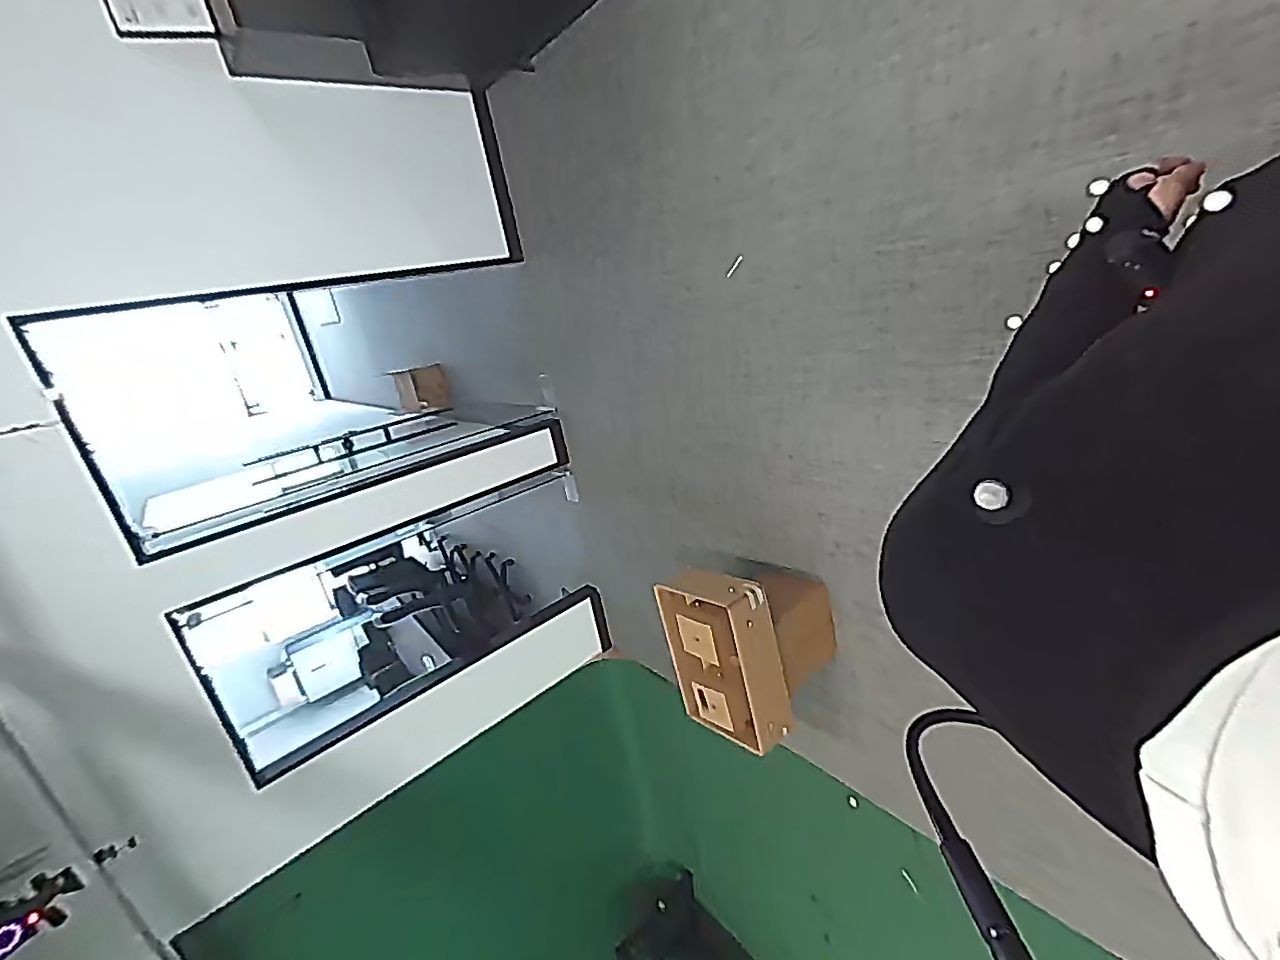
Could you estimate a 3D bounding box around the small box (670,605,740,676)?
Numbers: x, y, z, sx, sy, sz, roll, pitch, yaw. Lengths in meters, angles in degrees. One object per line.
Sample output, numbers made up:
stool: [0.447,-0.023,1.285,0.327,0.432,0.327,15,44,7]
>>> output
small box: [0.238,0.575,1.969,0.179,0.176,0.168,6,114,50]
